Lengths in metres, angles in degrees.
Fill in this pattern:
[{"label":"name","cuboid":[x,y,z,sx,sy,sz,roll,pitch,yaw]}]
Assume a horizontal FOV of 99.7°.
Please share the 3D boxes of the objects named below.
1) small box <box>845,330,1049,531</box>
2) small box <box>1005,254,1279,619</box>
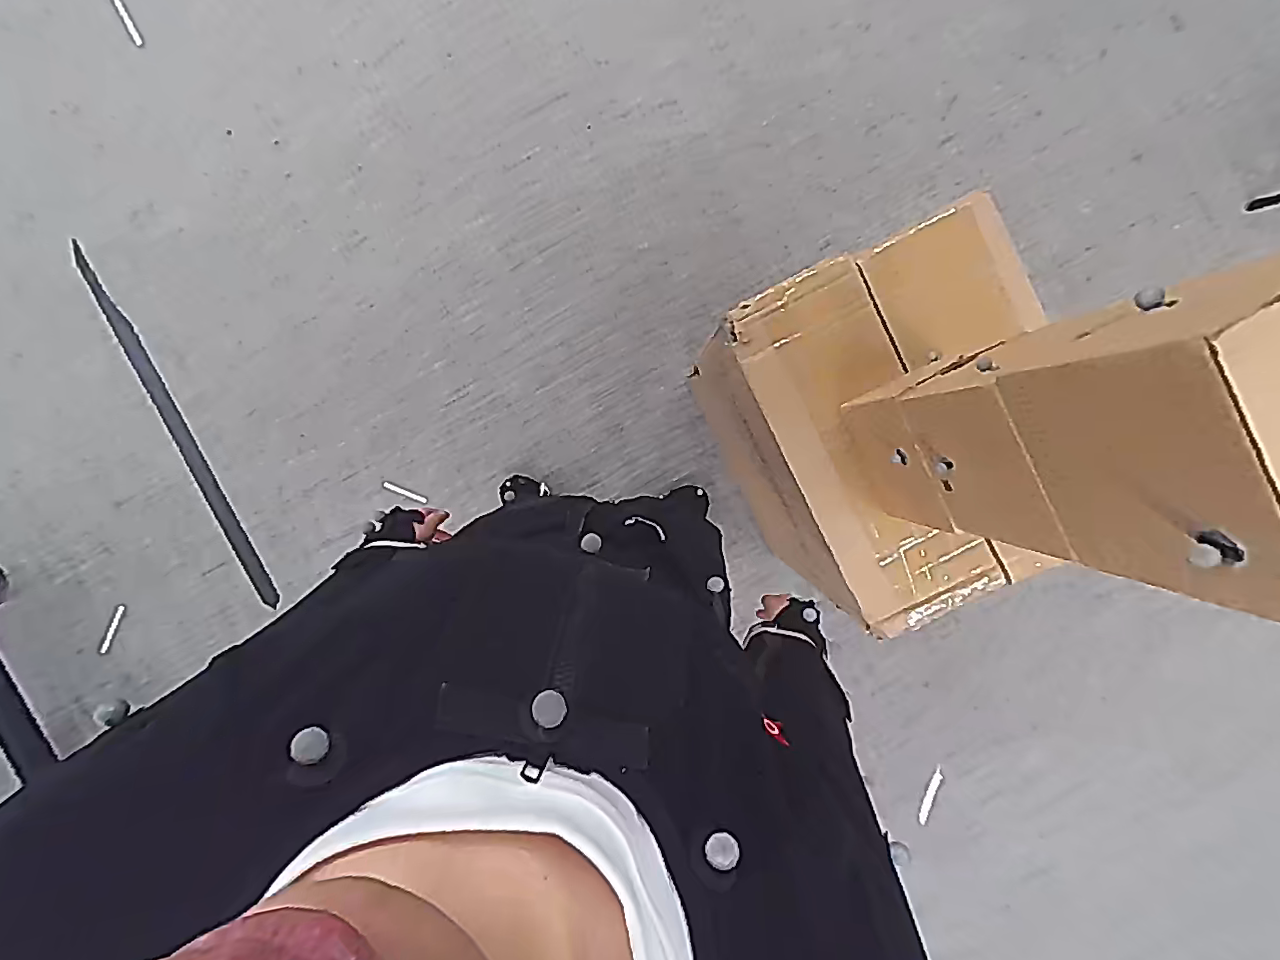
[{"label":"small box","cuboid":[0.386,-0.057,0.674,0.168,0.176,0.179,-26,93,2]},{"label":"small box","cuboid":[0.389,-0.039,0.345,0.168,0.176,0.179,-26,93,2]}]
